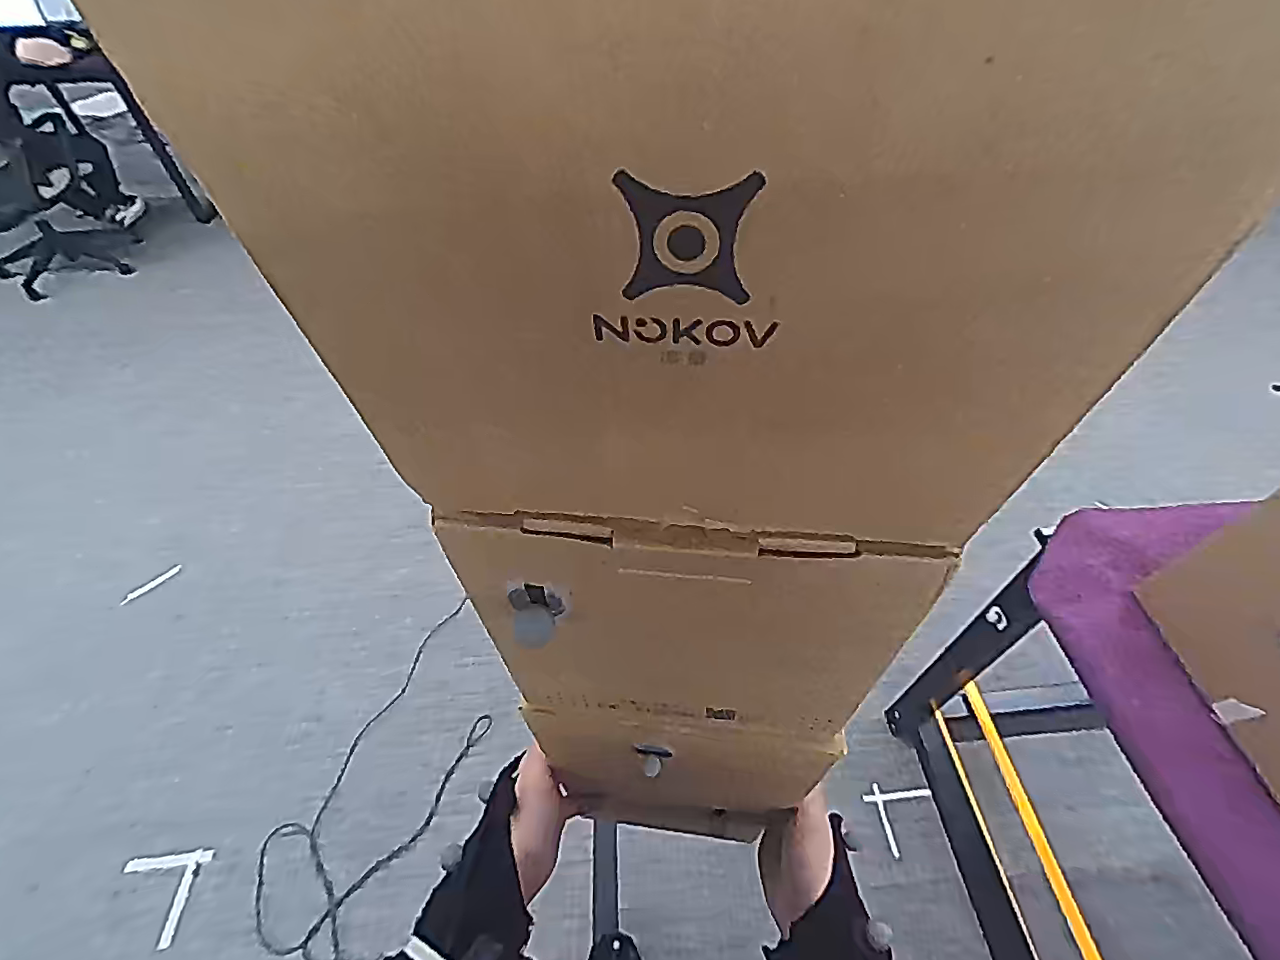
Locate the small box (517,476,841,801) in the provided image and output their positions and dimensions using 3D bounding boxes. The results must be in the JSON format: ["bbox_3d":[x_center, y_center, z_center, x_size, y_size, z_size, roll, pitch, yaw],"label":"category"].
[{"bbox_3d":[0.030,0.118,0.395,0.179,0.176,0.168,5,49,6],"label":"small box"}]
